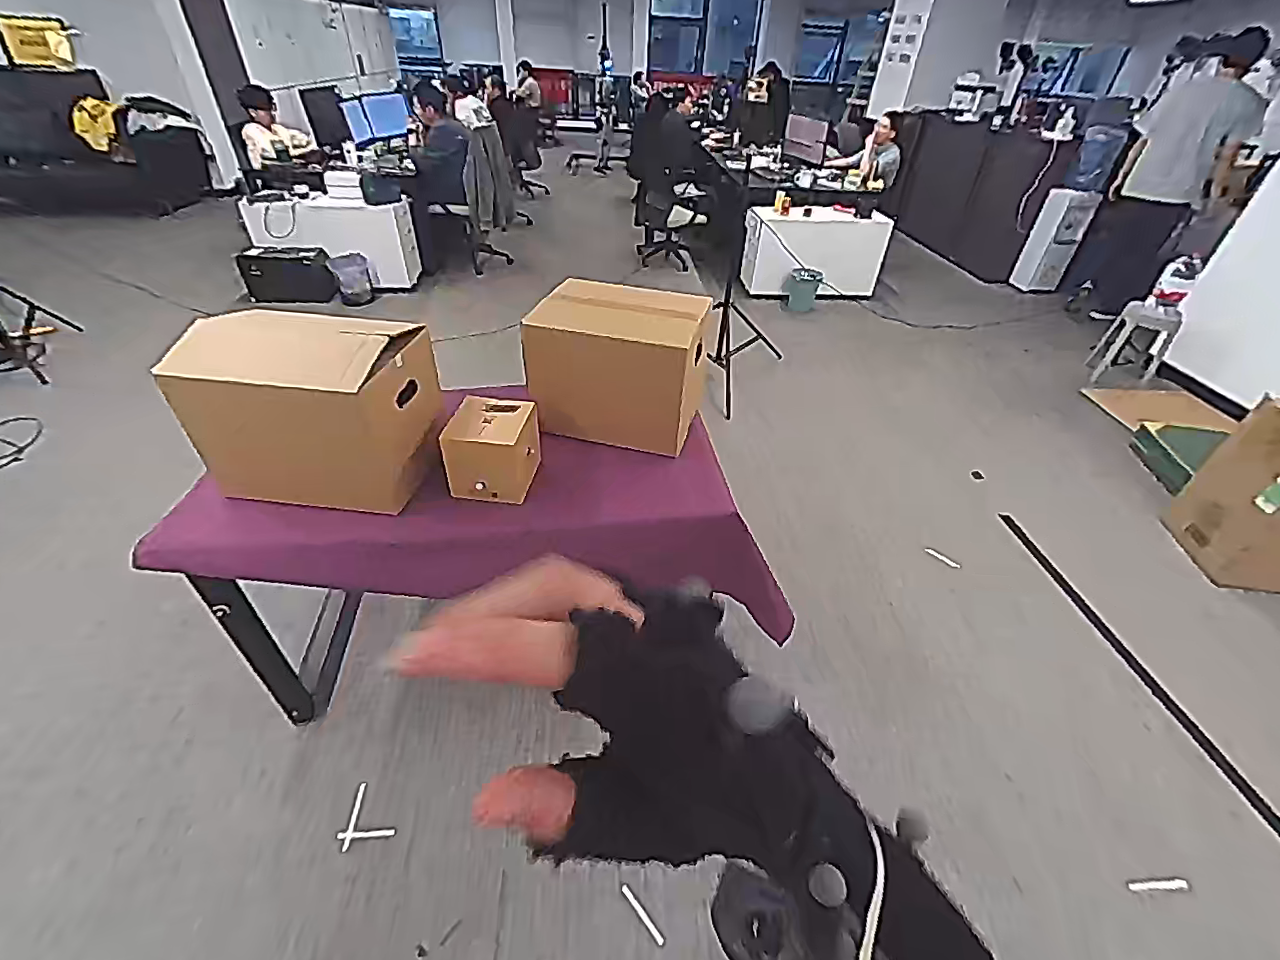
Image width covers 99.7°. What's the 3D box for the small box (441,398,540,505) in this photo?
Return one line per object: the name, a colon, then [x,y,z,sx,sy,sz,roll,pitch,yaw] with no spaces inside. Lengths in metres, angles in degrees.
small box: [-0.331,-0.067,1.239,0.168,0.176,0.179,6,39,4]
